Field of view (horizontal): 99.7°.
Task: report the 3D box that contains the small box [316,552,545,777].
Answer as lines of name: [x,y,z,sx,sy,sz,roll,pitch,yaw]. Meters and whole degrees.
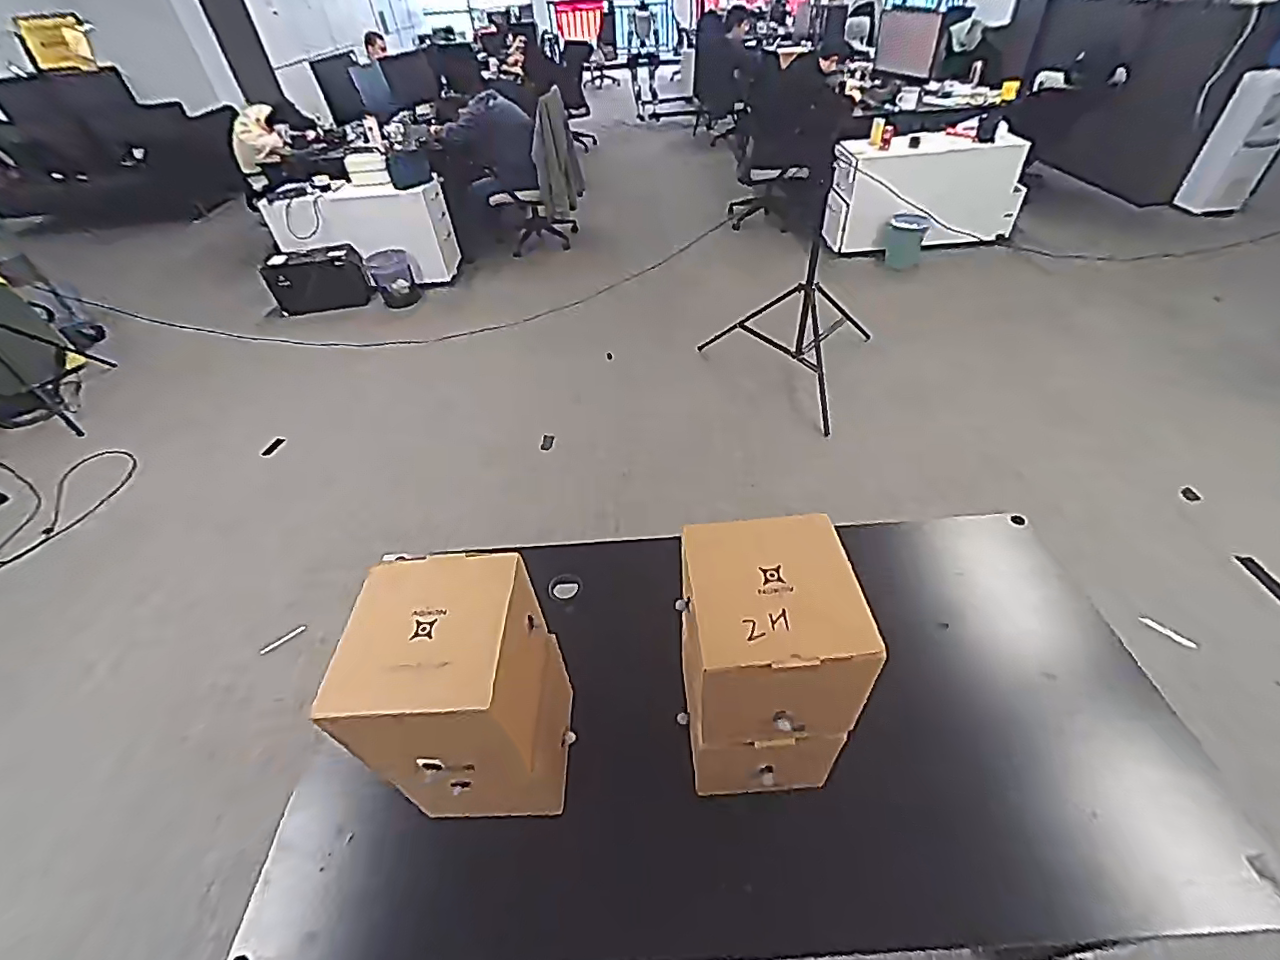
small box: [-0.205,0.202,0.593,0.168,0.176,0.179,-5,44,2]

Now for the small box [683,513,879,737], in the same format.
small box: [0.136,0.160,0.603,0.168,0.176,0.179,-5,43,1]

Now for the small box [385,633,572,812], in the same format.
small box: [-0.193,0.318,0.706,0.179,0.176,0.168,-2,43,1]

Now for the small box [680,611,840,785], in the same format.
small box: [0.144,0.284,0.713,0.168,0.176,0.179,-5,43,0]
